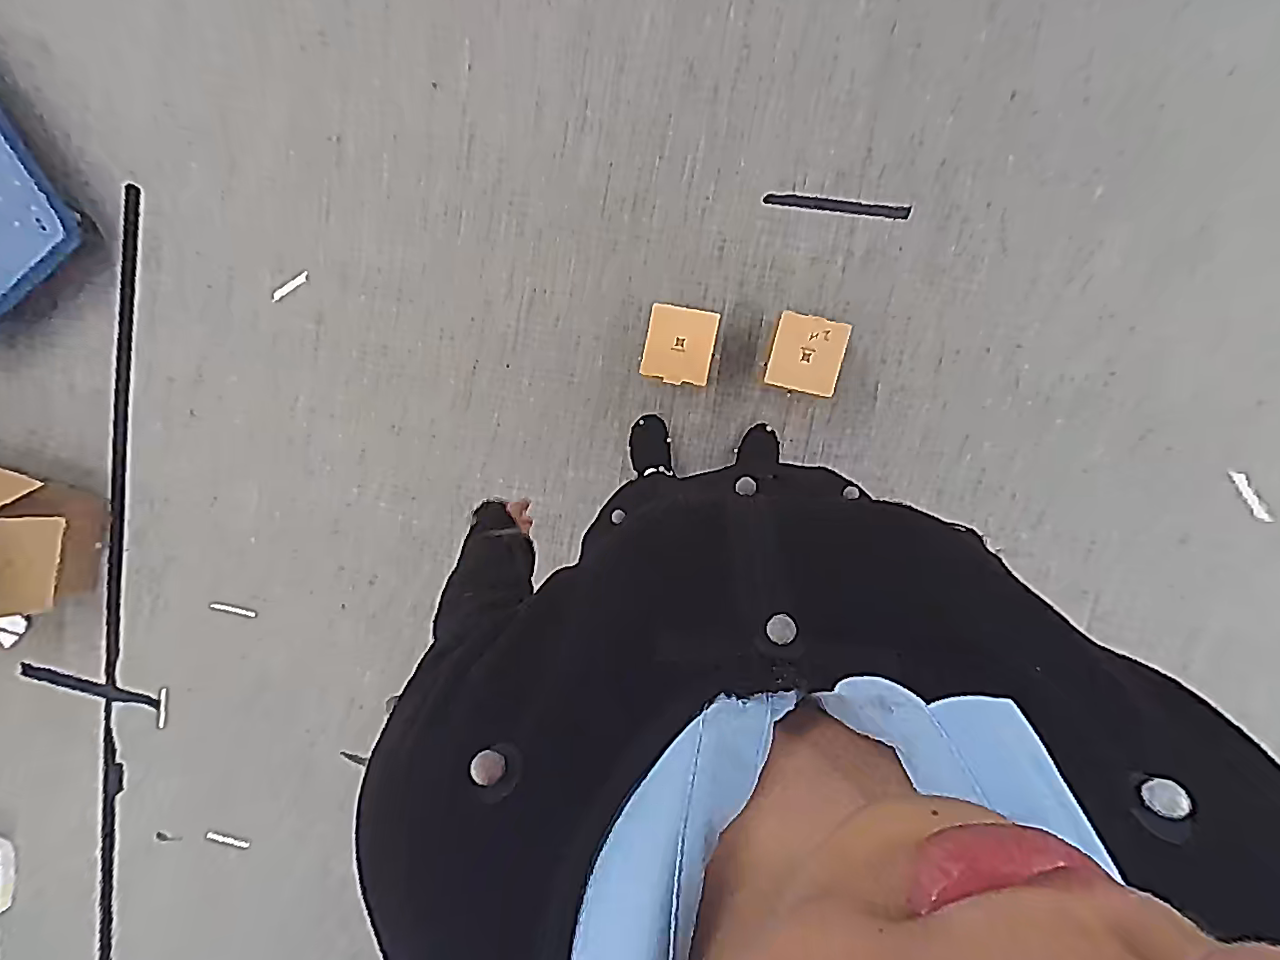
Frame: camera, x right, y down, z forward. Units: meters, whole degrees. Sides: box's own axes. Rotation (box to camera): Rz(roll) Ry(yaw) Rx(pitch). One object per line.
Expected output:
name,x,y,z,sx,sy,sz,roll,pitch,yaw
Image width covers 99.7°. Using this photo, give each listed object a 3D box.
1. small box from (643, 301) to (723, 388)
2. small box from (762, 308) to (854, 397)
small box,0.110,-0.338,1.376,0.168,0.176,0.179,12,98,5
small box,0.406,-0.308,1.342,0.168,0.176,0.179,14,98,4
